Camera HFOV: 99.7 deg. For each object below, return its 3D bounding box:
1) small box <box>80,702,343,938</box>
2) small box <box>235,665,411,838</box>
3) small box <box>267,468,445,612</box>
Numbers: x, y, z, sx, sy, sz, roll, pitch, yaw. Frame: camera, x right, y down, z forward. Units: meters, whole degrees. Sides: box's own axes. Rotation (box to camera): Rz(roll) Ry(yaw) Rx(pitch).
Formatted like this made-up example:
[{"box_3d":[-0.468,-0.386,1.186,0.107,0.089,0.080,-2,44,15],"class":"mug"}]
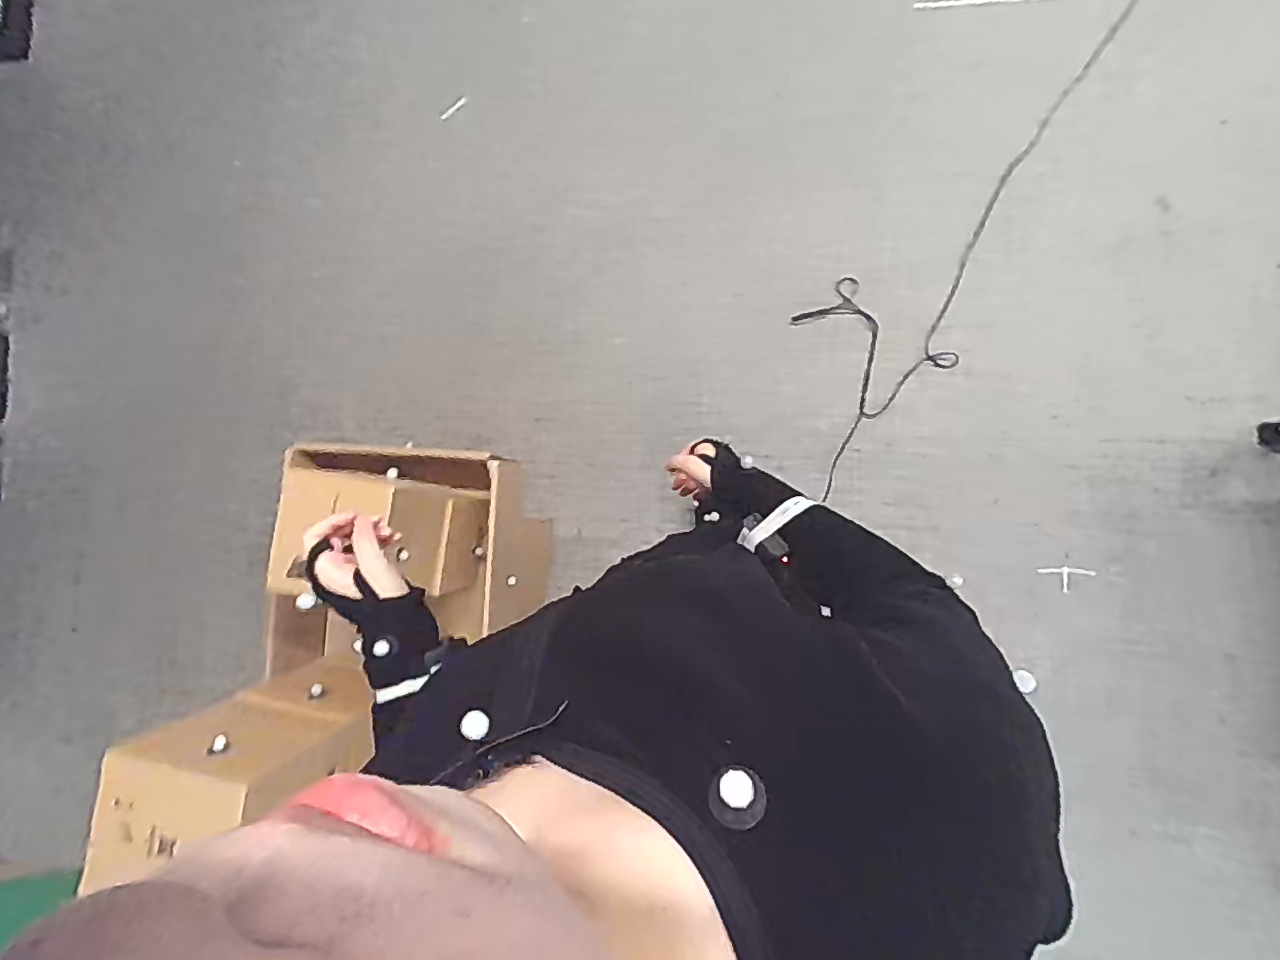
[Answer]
[{"box_3d":[-0.500,0.390,0.657,0.179,0.176,0.168,9,88,7],"class":"small box"},{"box_3d":[-0.483,0.394,0.821,0.179,0.176,0.168,9,88,7],"class":"small box"},{"box_3d":[-0.420,0.085,0.826,0.168,0.176,0.179,9,89,7],"class":"small box"}]
